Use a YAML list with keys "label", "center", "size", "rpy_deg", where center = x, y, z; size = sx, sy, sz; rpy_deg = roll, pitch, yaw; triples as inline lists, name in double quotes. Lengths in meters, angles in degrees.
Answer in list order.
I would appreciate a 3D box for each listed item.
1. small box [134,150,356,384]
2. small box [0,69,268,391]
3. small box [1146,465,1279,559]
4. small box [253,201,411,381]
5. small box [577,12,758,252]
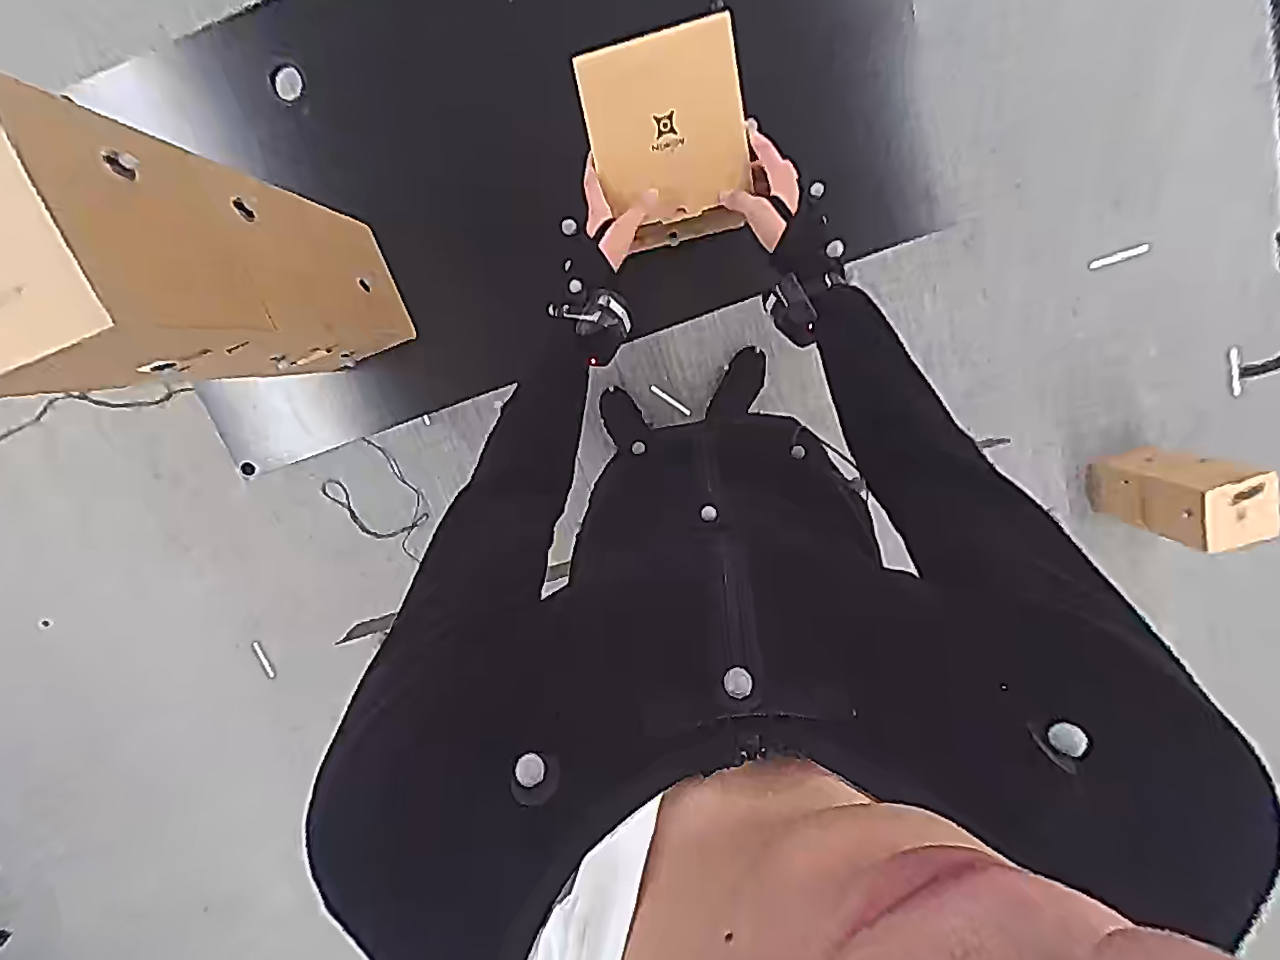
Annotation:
- label: "small box"
  center: [-0.459, -0.217, 0.596]
  size: [0.168, 0.176, 0.179]
  rpy_deg: [-19, 103, 6]
- label: "small box"
  center: [-0.462, -0.178, 0.438]
  size: [0.168, 0.176, 0.179]
  rpy_deg: [-19, 103, 7]
- label: "small box"
  center: [1.436, 0.070, 1.368]
  size: [0.168, 0.176, 0.179]
  rpy_deg: [-18, 104, 5]
- label: "small box"
  center: [-0.455, -0.254, 0.757]
  size: [0.168, 0.176, 0.179]
  rpy_deg: [-20, 103, 6]
- label: "small box"
  center: [0.036, -0.385, 0.636]
  size: [0.168, 0.176, 0.179]
  rpy_deg: [-11, 106, 8]
